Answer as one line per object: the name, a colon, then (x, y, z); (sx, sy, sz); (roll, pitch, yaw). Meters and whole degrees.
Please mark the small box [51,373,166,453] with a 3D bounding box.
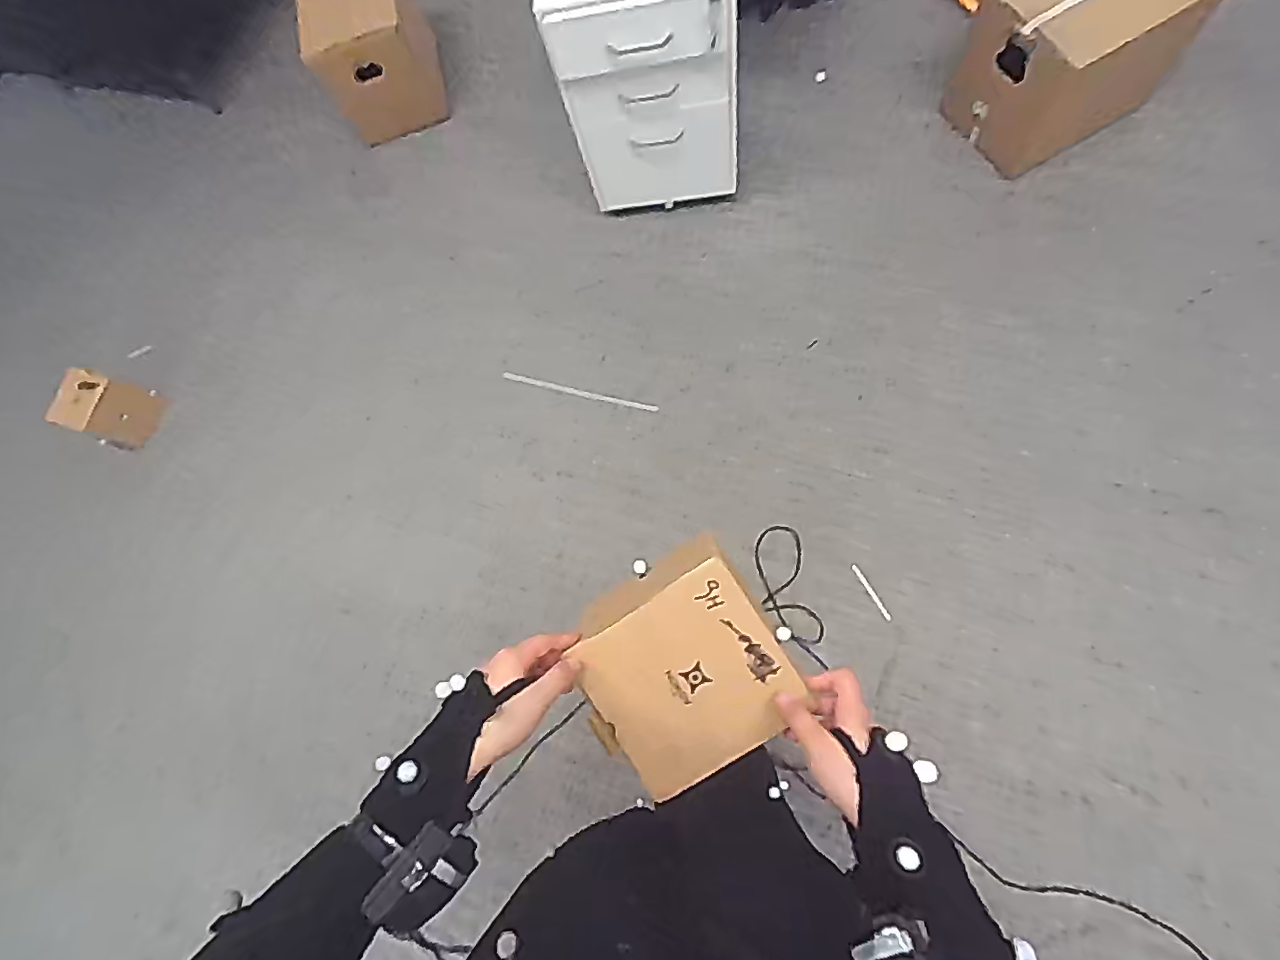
small box: (-1.648, -0.206, 1.691); (0.168, 0.176, 0.179); (16, 79, 14)
